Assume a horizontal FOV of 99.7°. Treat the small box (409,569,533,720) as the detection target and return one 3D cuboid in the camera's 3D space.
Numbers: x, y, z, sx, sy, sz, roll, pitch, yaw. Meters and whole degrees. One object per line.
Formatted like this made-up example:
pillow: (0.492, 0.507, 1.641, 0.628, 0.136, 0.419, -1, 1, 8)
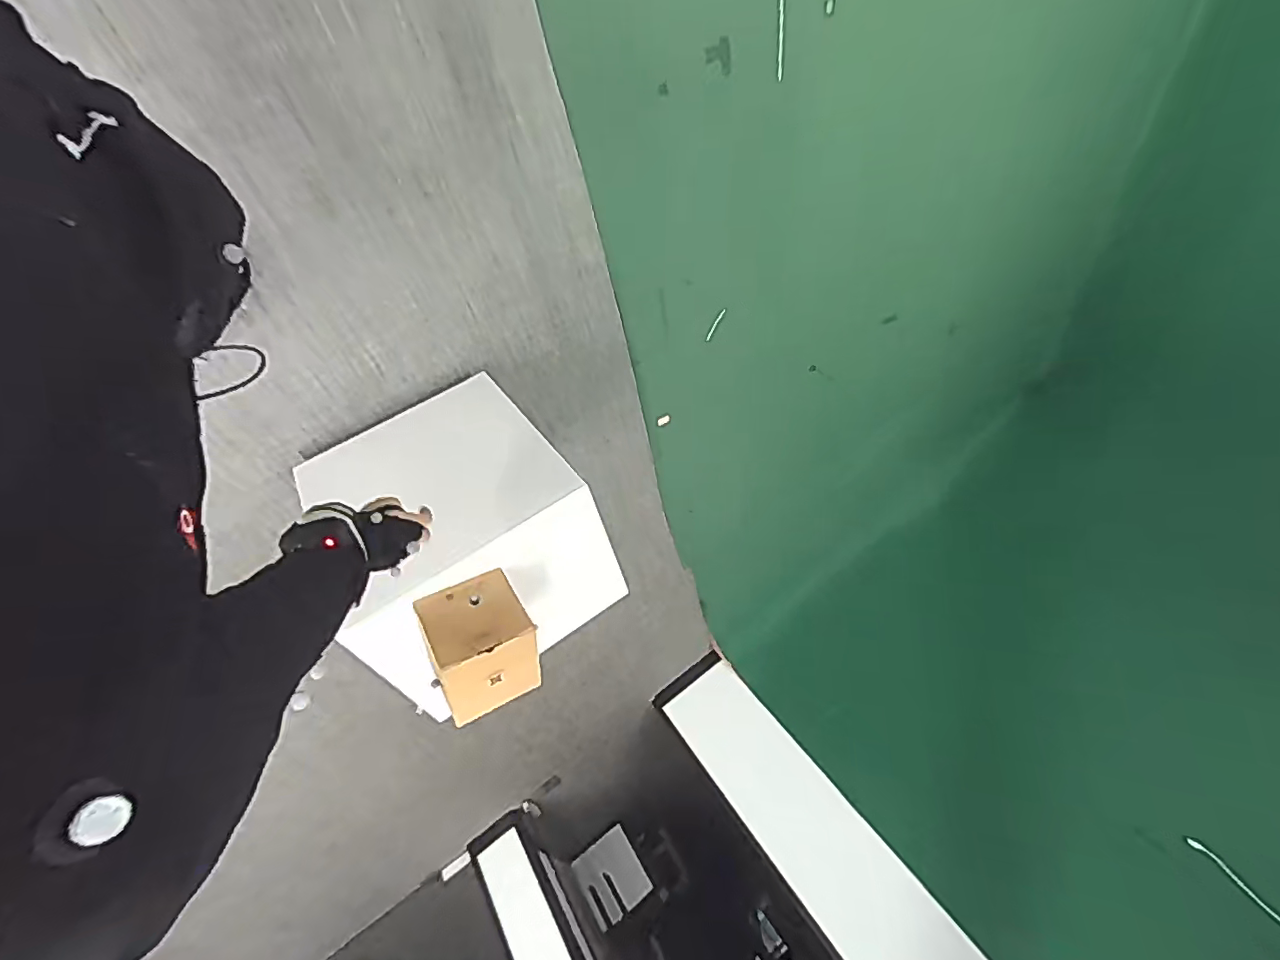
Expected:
small box: (-0.311, 0.298, 1.005, 0.168, 0.176, 0.179, -20, 134, -27)
